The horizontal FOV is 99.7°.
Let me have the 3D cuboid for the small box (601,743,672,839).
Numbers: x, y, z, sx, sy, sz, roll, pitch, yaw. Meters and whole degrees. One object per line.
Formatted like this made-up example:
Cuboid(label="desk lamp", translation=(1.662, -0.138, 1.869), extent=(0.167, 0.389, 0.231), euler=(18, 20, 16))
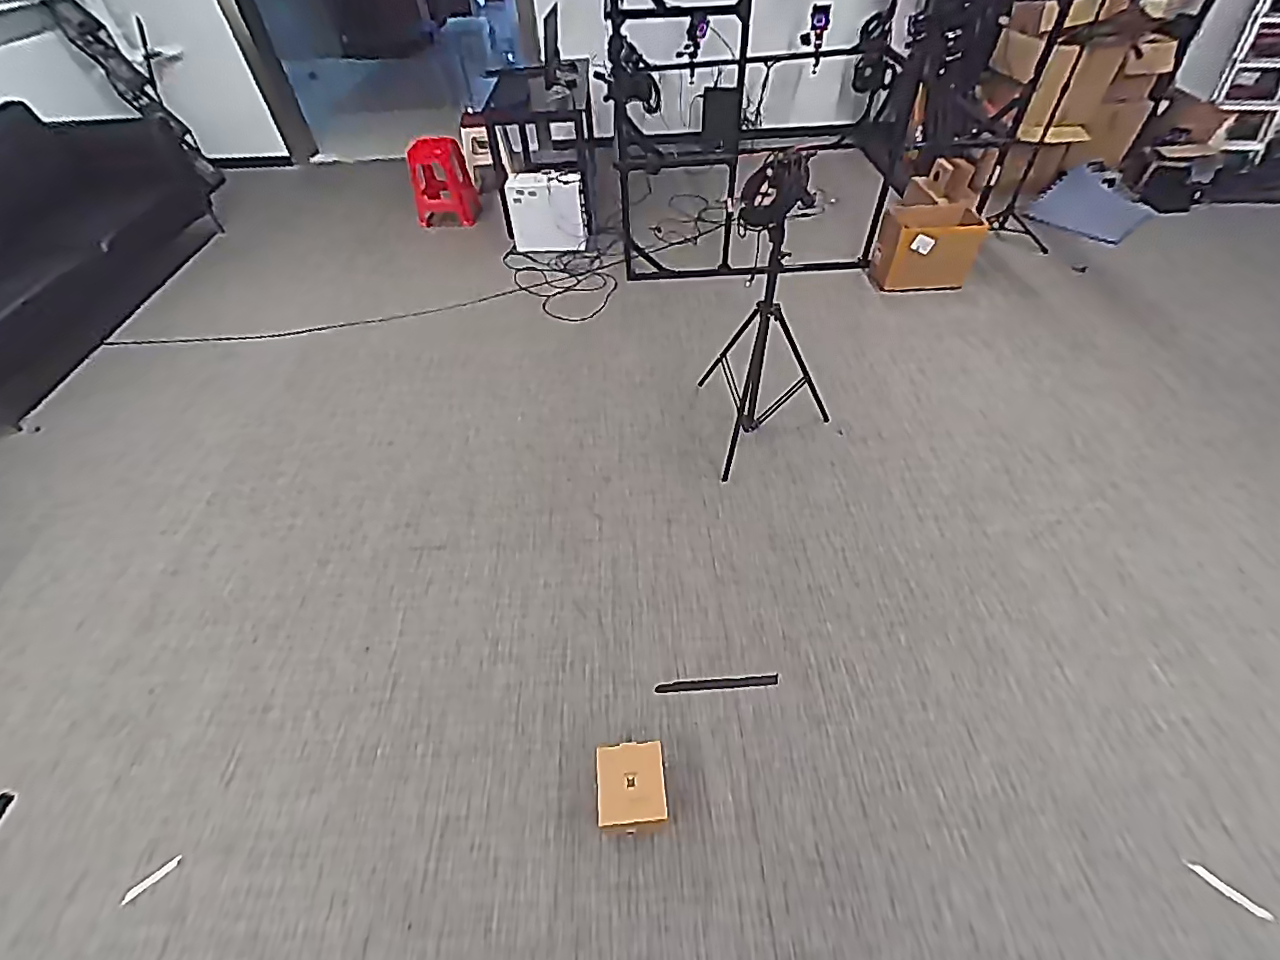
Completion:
Cuboid(label="small box", translation=(-0.010, 0.792, 1.375), extent=(0.168, 0.176, 0.179), euler=(-6, 49, -1))
